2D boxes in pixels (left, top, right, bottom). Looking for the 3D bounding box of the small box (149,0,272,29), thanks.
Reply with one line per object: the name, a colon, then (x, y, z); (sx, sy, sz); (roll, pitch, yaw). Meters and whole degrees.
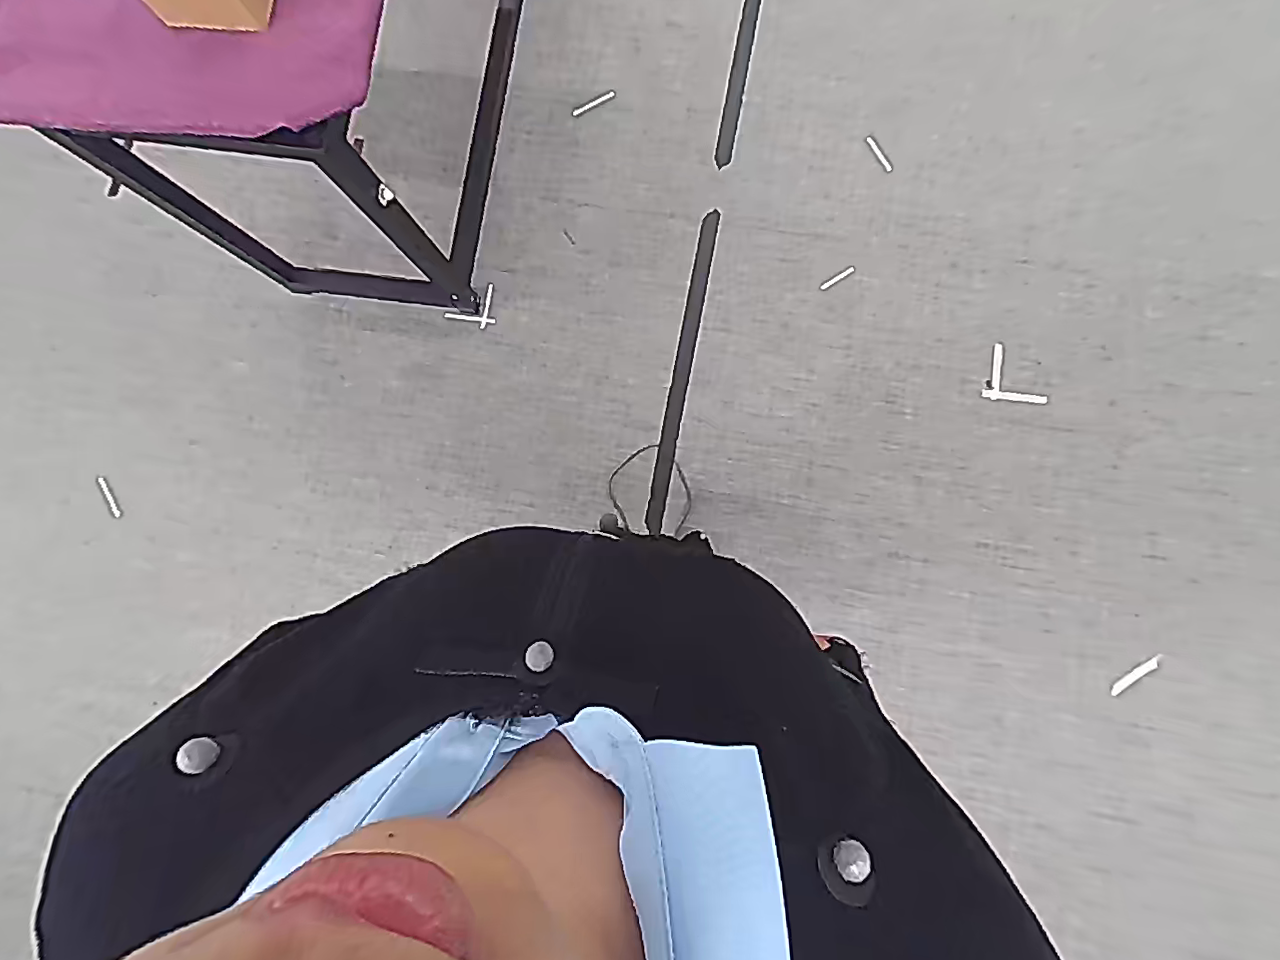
small box: (-0.687, -0.827, 0.811); (0.179, 0.176, 0.168); (7, 84, 3)
